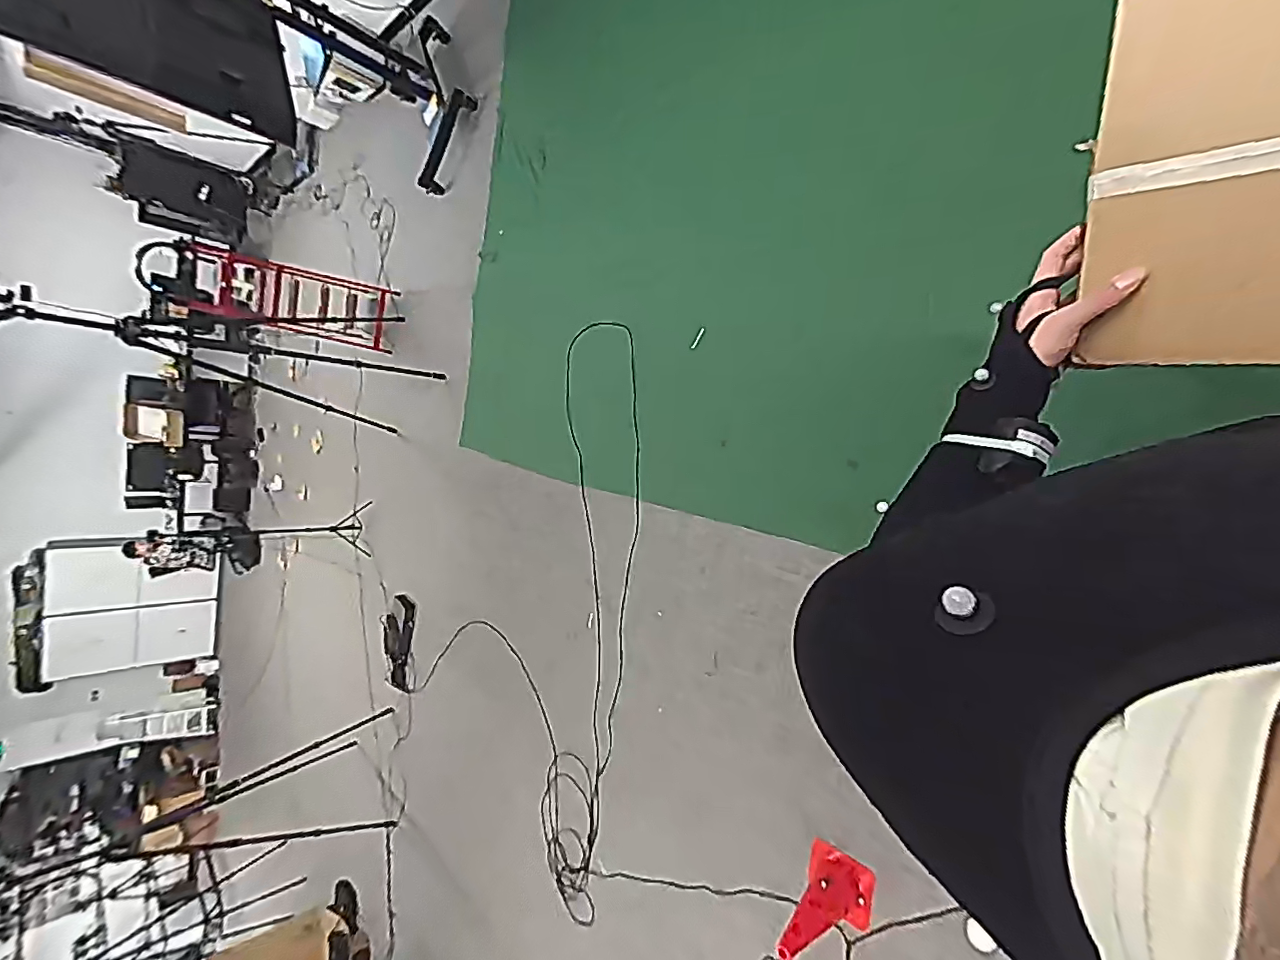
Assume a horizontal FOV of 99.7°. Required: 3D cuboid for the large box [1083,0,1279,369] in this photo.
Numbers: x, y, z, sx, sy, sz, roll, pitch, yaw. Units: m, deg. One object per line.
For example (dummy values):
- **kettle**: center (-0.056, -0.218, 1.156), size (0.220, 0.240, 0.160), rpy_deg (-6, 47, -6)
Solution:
- **large box**: center (0.656, -0.269, 0.448), size (0.408, 0.320, 0.320), rpy_deg (10, 112, 44)
